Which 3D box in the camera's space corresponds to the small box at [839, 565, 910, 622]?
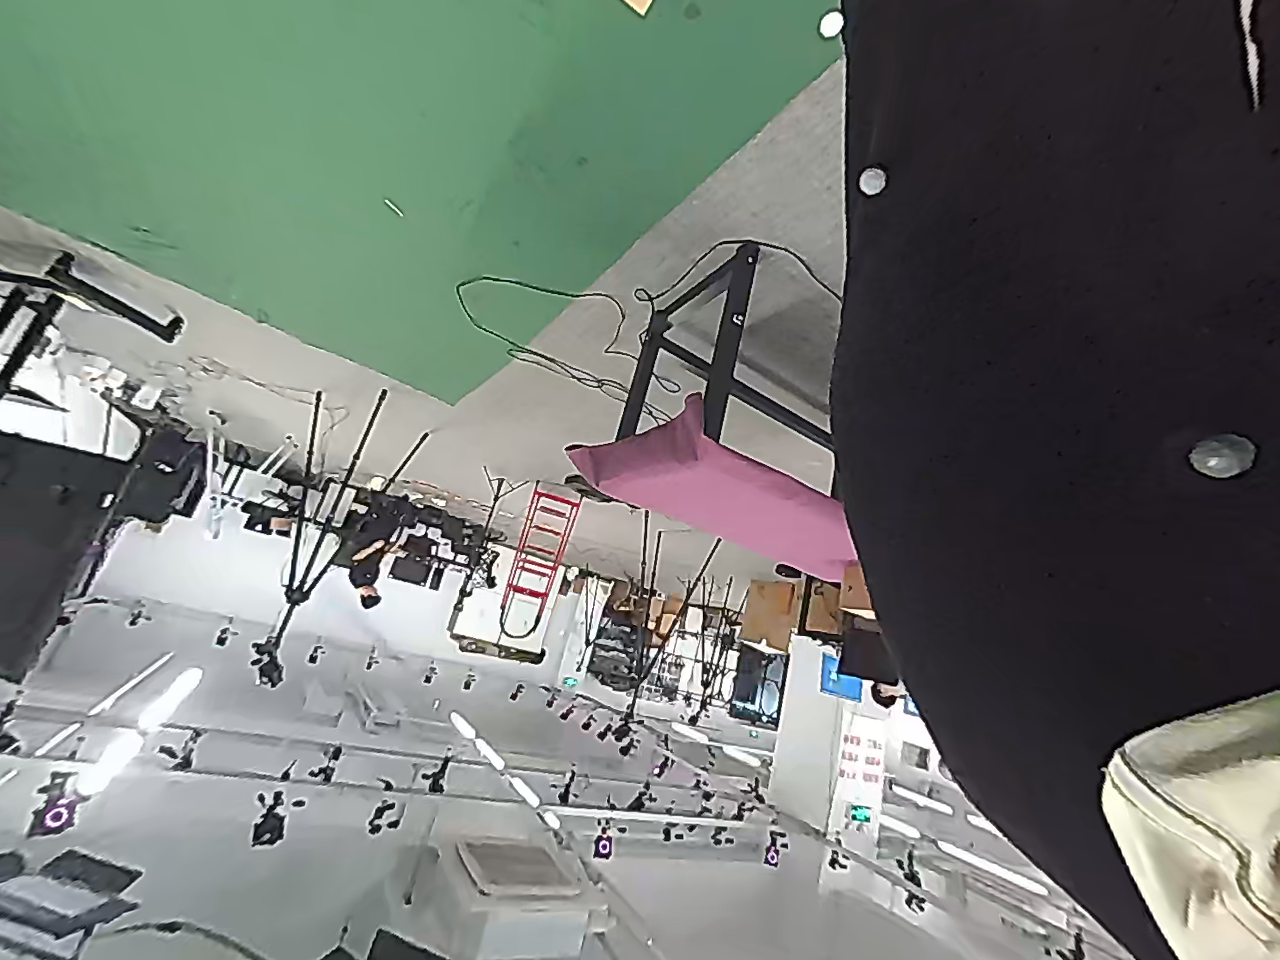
[{"bbox_3d":[0.883,0.422,2.027,0.168,0.176,0.179,22,162,-23],"label":"small box"}]
